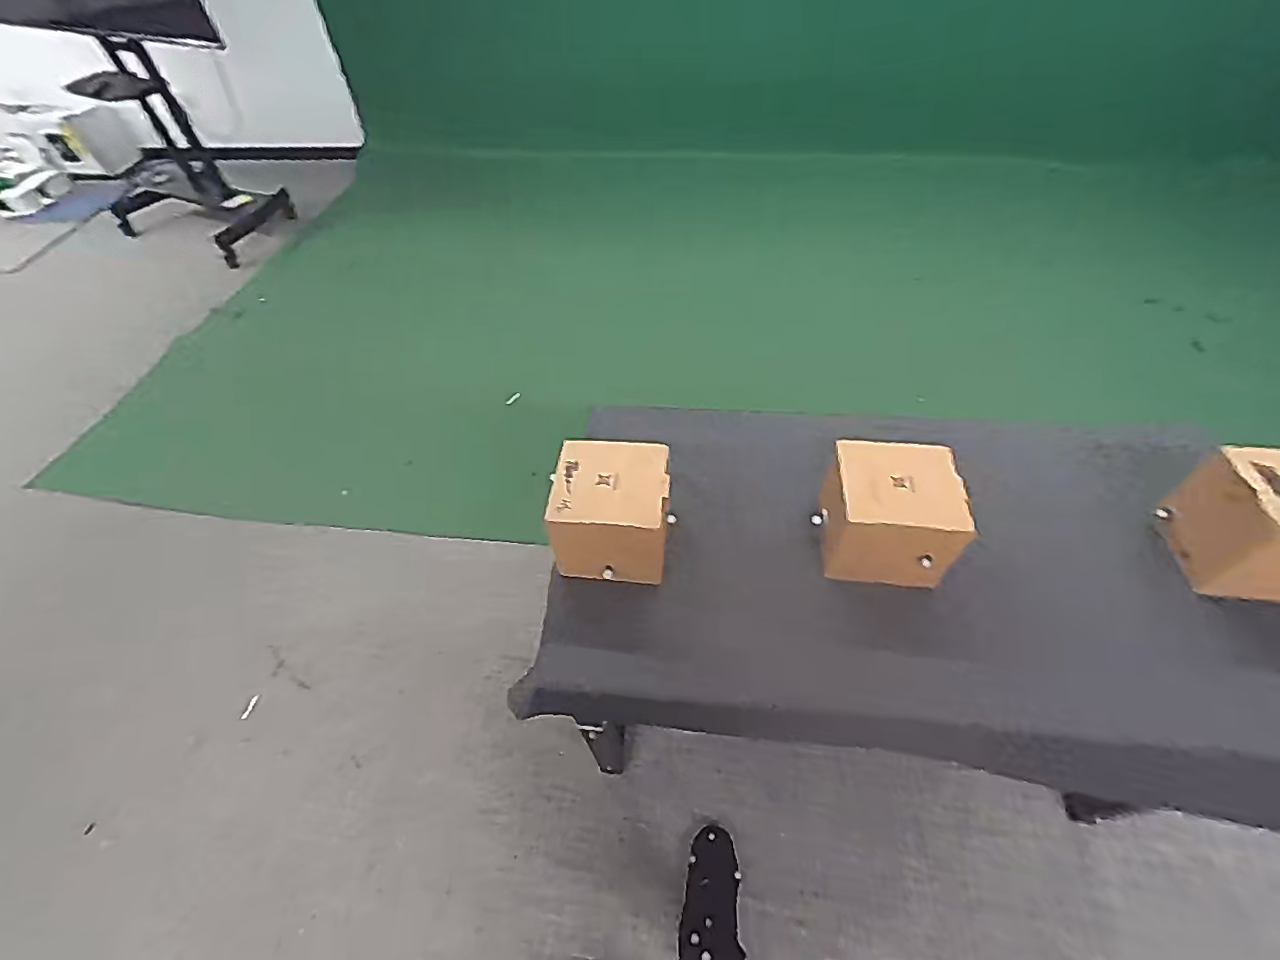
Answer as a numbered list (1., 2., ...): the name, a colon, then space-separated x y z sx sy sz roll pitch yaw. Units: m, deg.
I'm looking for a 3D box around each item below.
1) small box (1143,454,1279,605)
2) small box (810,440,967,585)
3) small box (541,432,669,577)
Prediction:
1. small box: 0.952 0.082 0.848 0.179 0.176 0.168 6 52 5
2. small box: 0.388 0.056 0.880 0.179 0.176 0.168 4 50 6
3. small box: -0.051 0.044 0.891 0.179 0.176 0.168 6 51 3
